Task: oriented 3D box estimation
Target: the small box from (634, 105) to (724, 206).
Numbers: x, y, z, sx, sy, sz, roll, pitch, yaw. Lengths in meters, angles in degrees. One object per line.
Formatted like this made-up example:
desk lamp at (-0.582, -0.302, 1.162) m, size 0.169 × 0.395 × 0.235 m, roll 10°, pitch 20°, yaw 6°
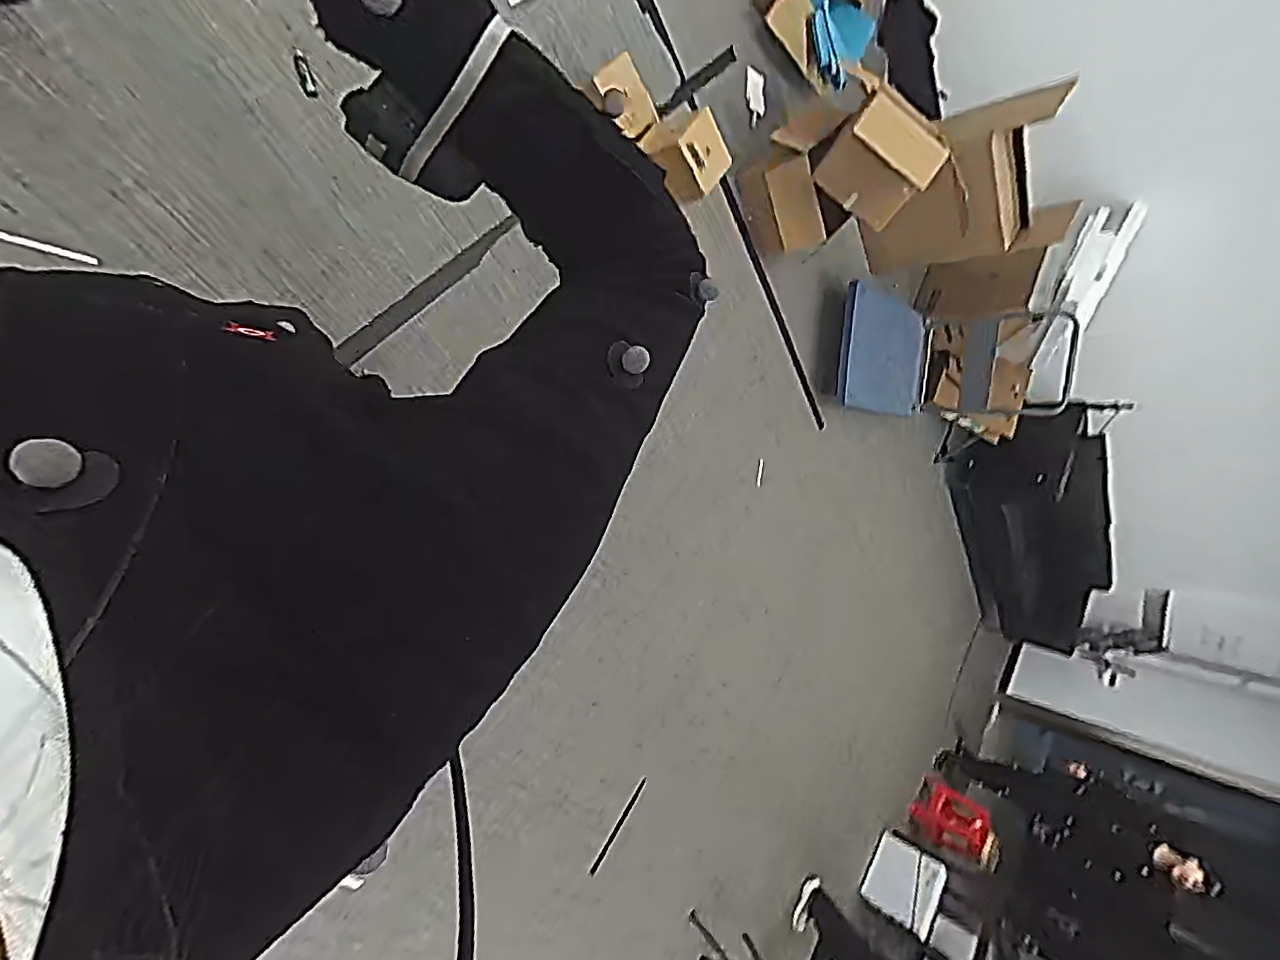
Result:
small box at (0.106, -0.924, 1.557) m, size 0.168 × 0.176 × 0.179 m, roll 50°, pitch 63°, yaw -37°
